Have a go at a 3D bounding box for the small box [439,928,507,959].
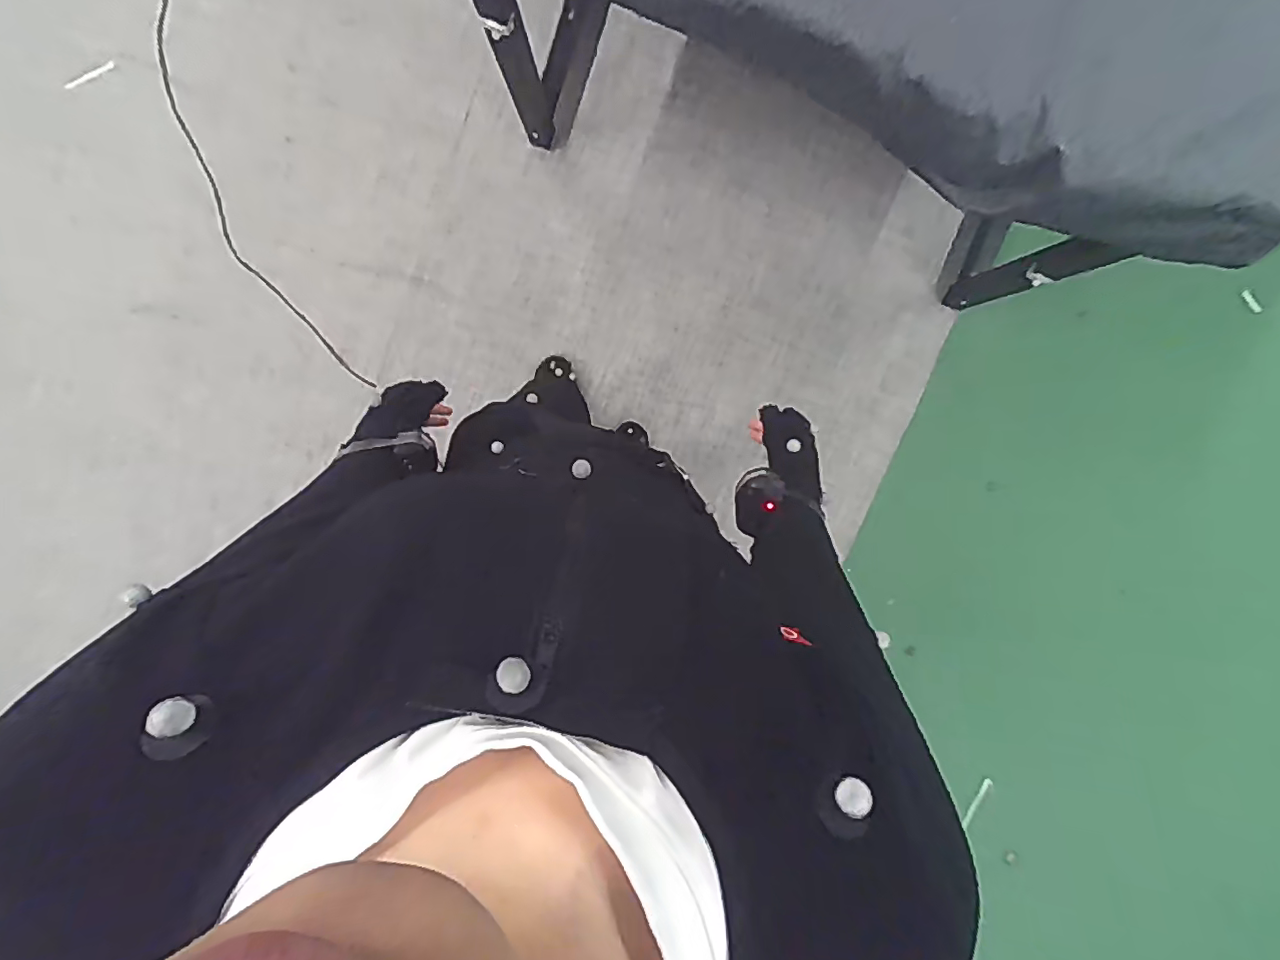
[{"bbox_3d":[-0.491,1.415,1.519,0.179,0.176,0.168,13,98,-1],"label":"small box"}]
